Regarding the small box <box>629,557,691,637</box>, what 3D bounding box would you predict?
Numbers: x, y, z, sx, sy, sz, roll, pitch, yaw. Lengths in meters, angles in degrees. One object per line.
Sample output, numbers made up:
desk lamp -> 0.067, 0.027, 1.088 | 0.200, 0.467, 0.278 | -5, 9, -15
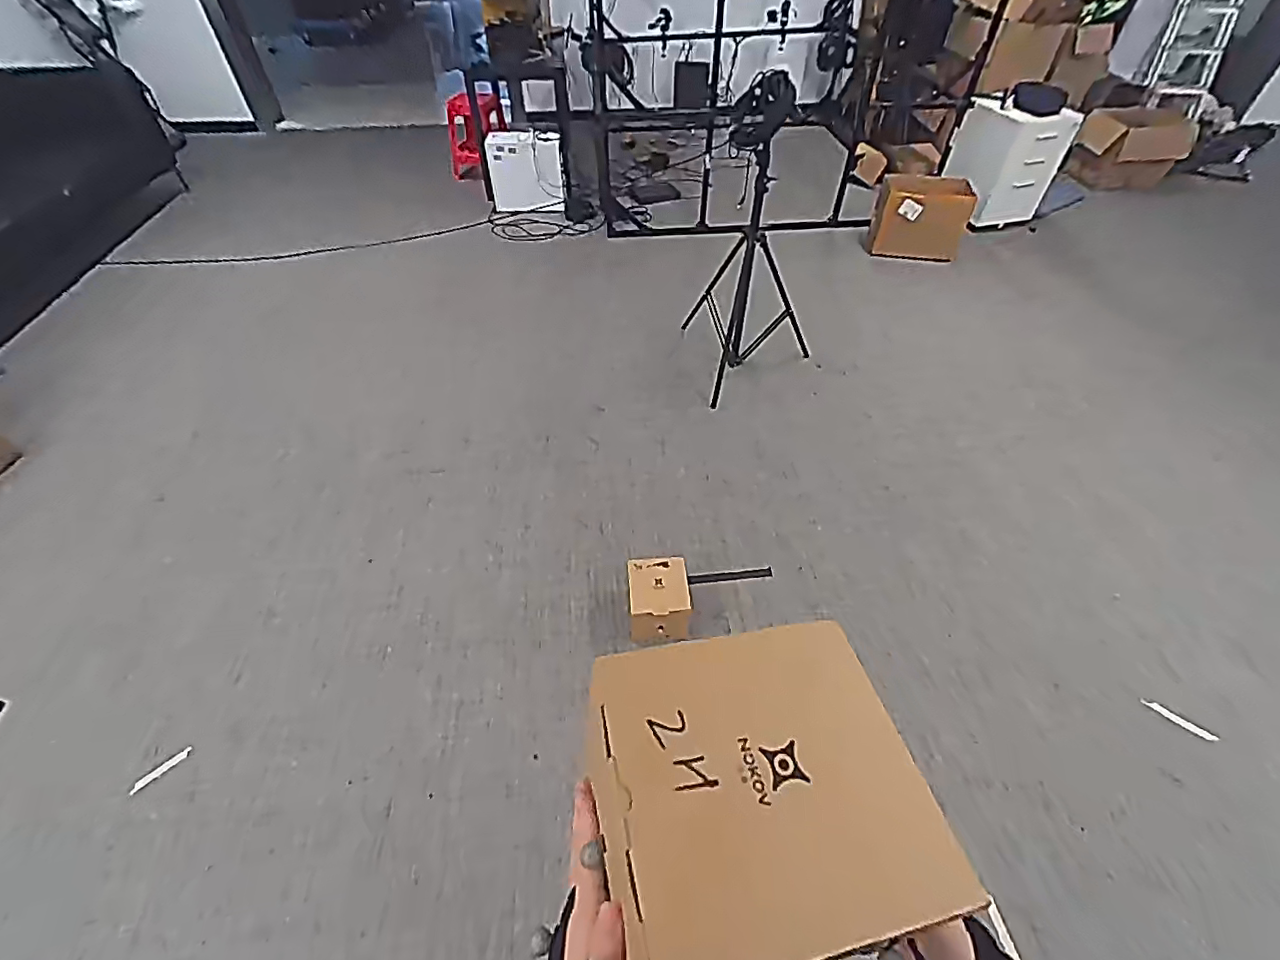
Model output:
small box -> 0.056, 0.345, 1.567 | 0.168, 0.176, 0.179 | -3, 49, -2

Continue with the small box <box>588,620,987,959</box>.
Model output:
small box -> 0.066, 0.217, 0.359 | 0.179, 0.176, 0.168 | -5, 44, -14
